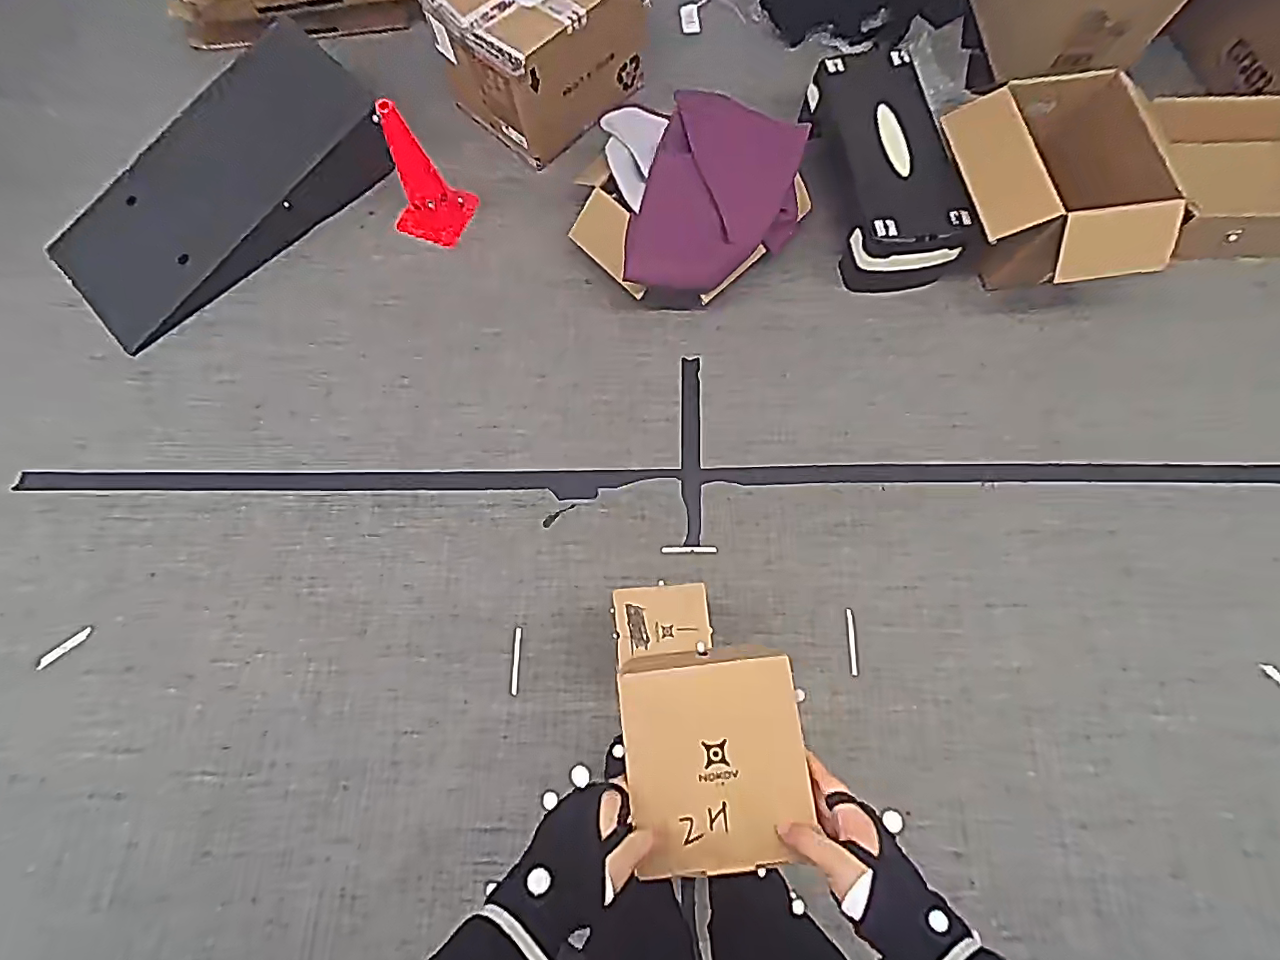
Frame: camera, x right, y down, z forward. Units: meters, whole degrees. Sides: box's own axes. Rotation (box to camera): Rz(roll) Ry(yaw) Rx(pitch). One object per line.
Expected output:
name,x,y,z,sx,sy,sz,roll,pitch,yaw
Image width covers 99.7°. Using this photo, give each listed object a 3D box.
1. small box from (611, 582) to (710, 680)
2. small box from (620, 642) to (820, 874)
small box,0.040,0.296,1.058,0.179,0.176,0.168,-5,74,-1
small box,0.070,0.269,0.568,0.168,0.176,0.179,-7,78,1
